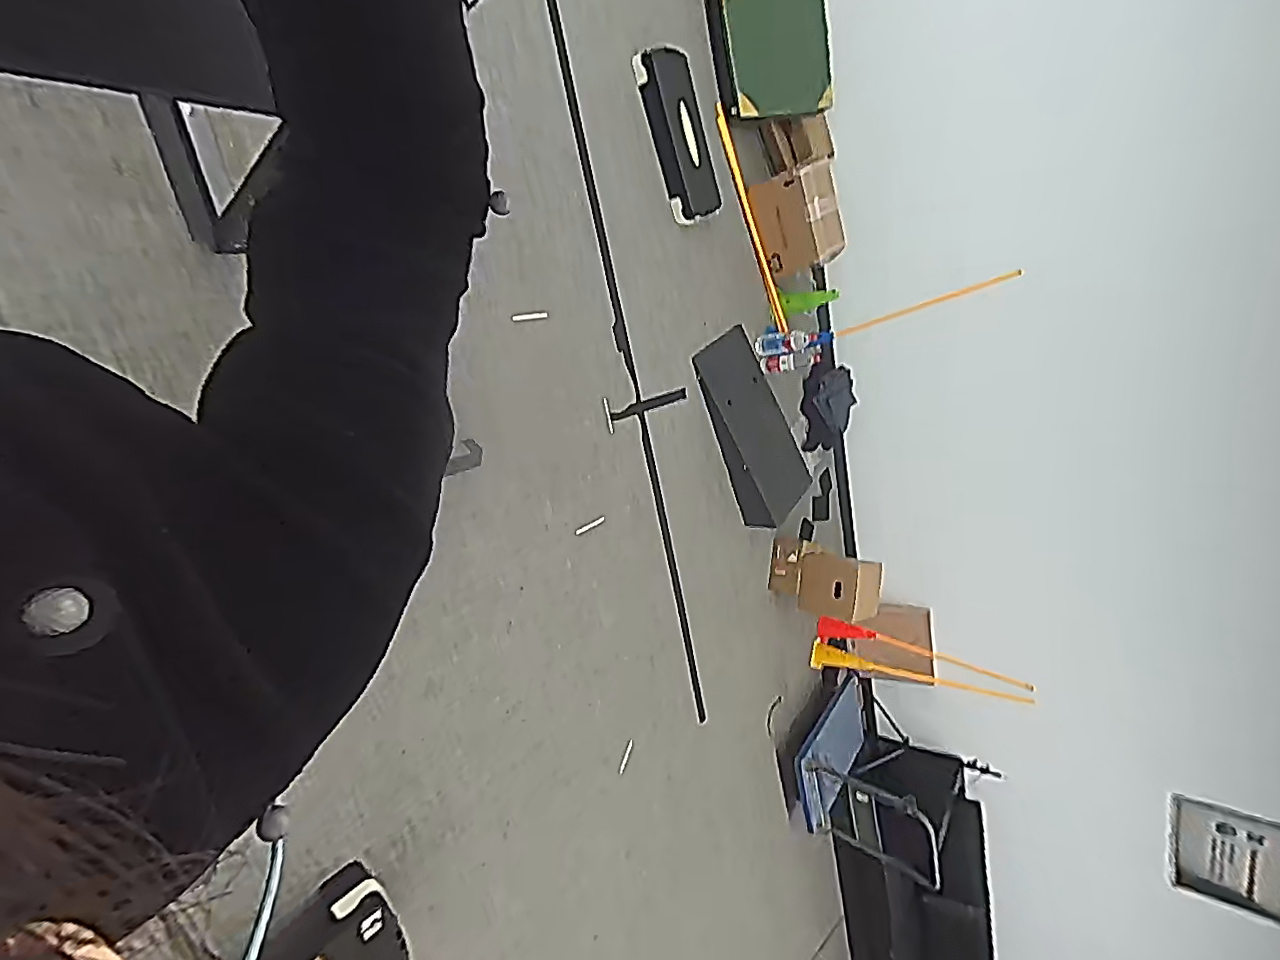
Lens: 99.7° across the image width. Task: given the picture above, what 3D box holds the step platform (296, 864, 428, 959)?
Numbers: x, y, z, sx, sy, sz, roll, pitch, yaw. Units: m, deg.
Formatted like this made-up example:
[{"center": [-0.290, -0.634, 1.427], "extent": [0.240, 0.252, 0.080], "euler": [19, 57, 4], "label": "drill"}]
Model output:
[{"center": [-0.845, 1.256, 1.231], "extent": [0.684, 0.204, 0.286], "euler": [-18, 104, -47], "label": "step platform"}]
